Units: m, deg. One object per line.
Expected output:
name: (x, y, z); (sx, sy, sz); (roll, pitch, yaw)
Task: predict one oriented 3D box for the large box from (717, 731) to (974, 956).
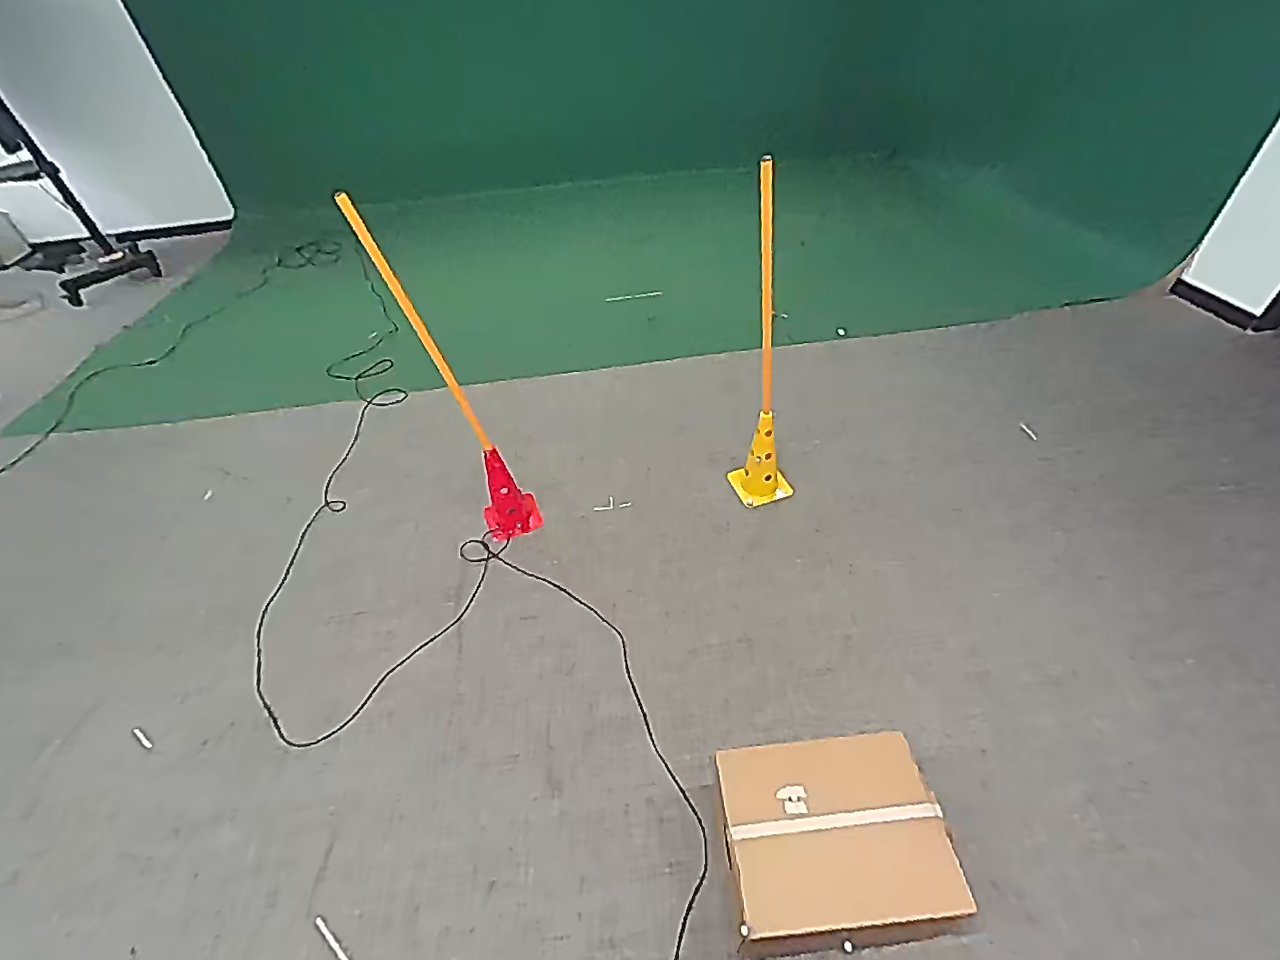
large box: (0.389, 0.772, 1.146); (0.408, 0.320, 0.320); (-7, 43, 0)
